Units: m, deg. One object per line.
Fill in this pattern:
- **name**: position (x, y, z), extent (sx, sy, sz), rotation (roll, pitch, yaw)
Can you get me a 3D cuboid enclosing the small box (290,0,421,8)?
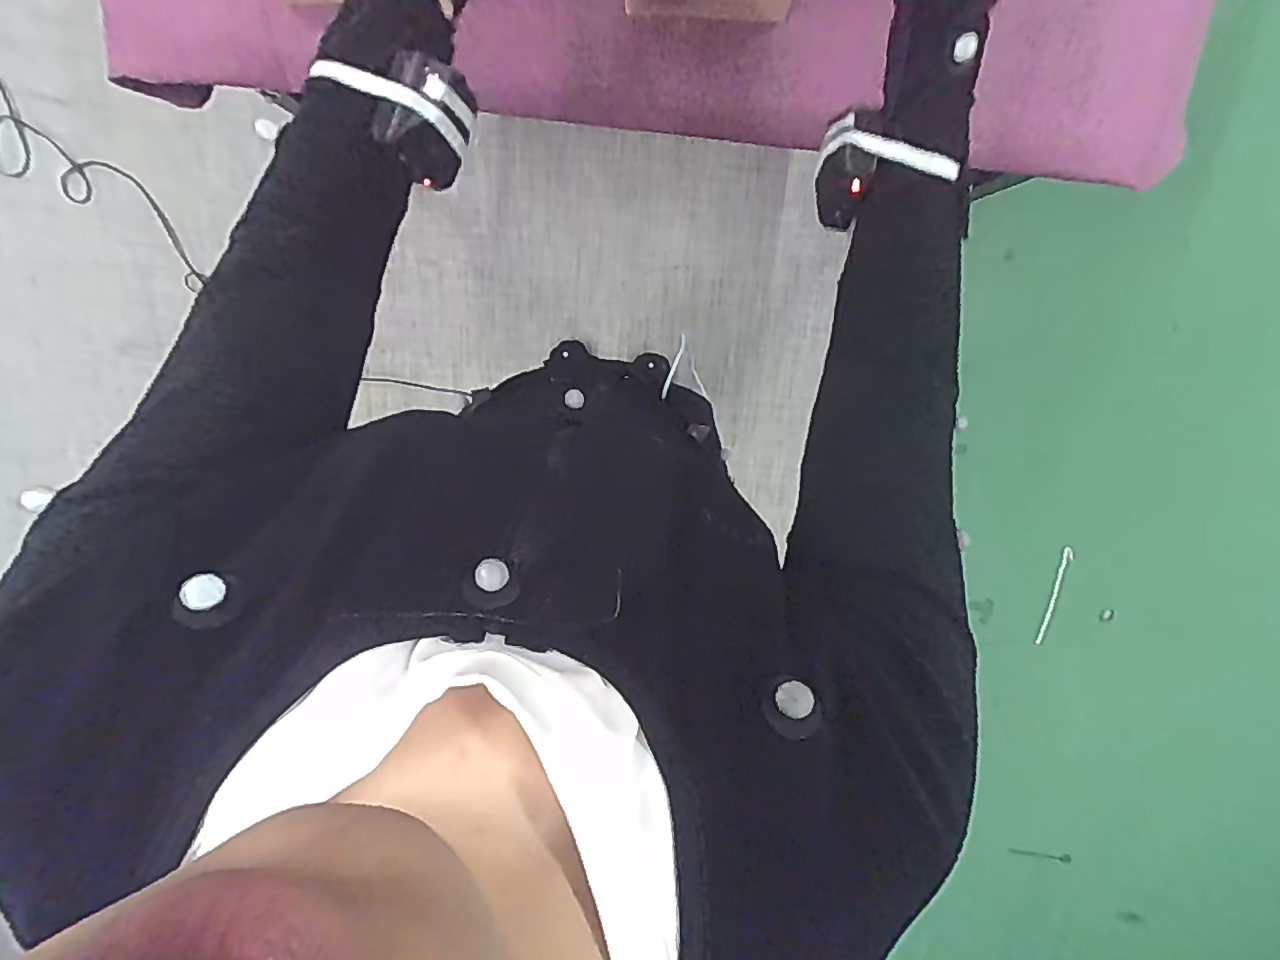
- **small box**: position (-0.313, -0.590, 0.498), extent (0.168, 0.176, 0.179), rotation (0, 104, -1)
